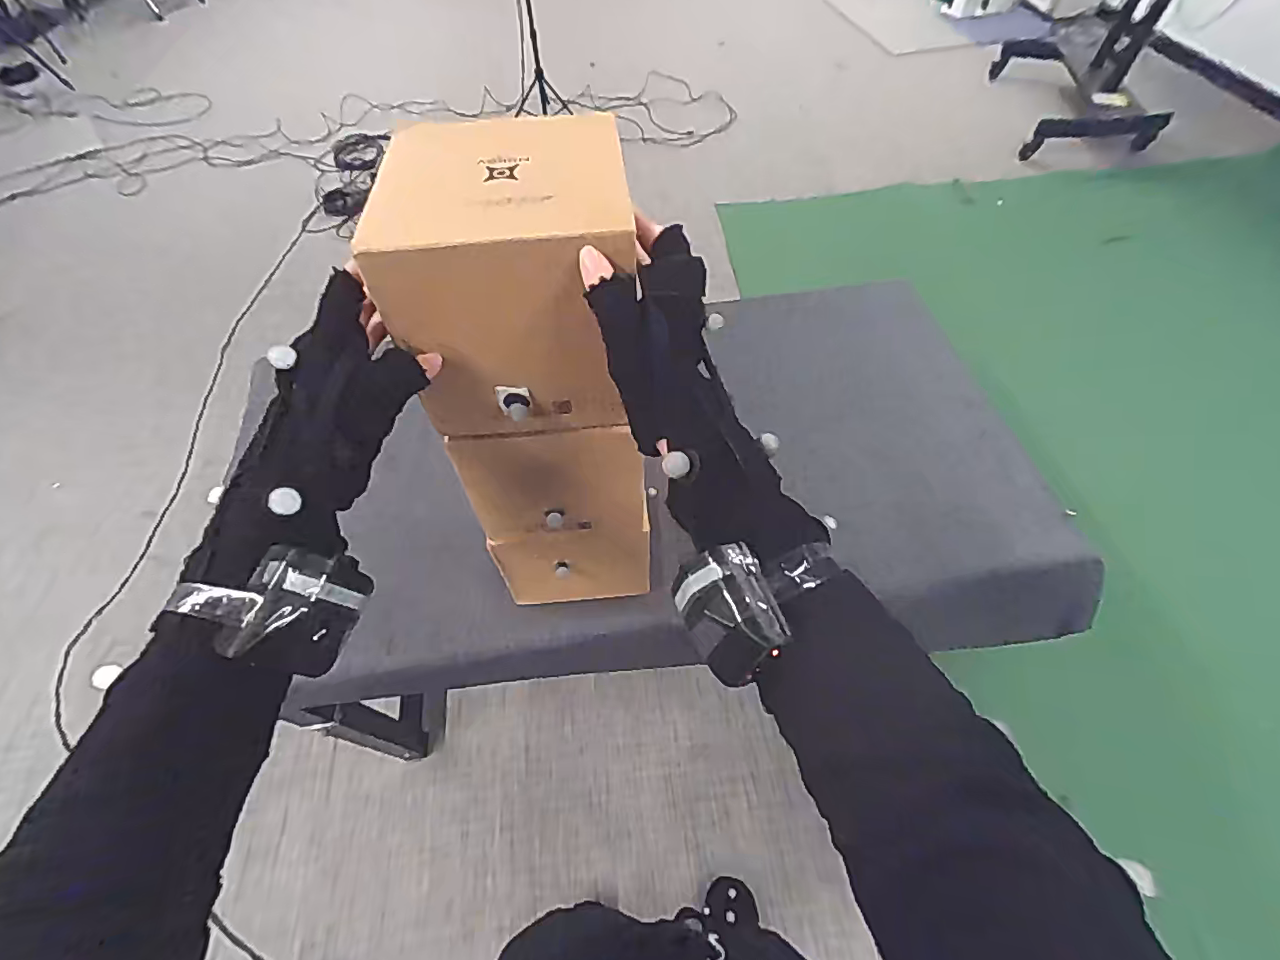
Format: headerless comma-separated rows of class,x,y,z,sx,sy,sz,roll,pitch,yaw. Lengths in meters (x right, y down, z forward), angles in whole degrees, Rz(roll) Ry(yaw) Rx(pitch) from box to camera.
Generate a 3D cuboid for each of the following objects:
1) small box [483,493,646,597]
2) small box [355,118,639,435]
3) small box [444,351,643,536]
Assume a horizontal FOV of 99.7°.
small box,-0.085,0.040,0.689,0.179,0.176,0.168,-4,55,-2
small box,-0.089,-0.157,0.426,0.168,0.176,0.179,-4,54,-3
small box,-0.084,-0.059,0.558,0.168,0.176,0.179,-2,56,-2
